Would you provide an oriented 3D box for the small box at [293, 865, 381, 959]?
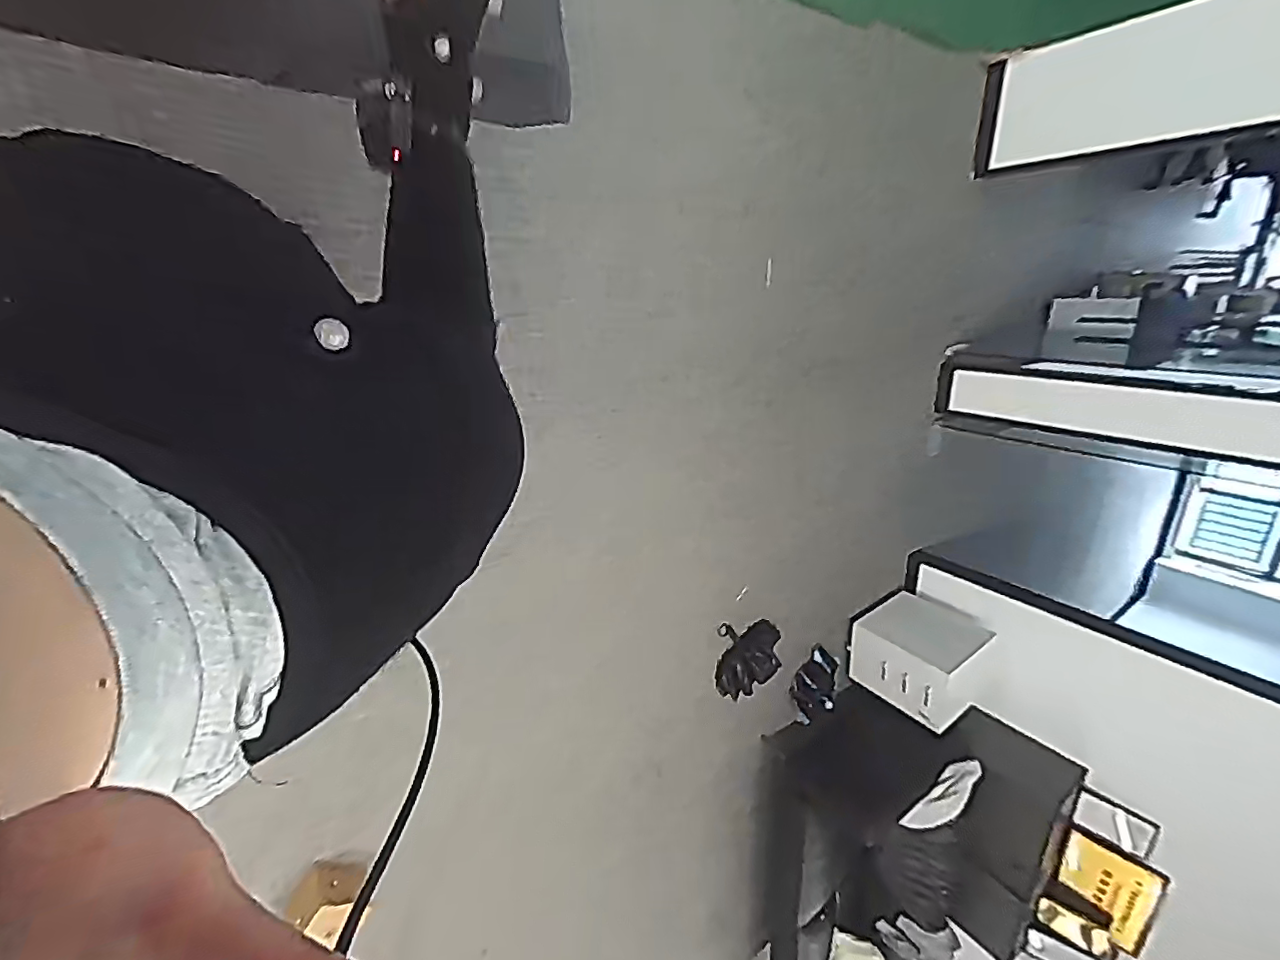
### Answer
[{"bbox_3d":[-0.934,1.323,1.656,0.168,0.176,0.179,37,82,-38],"label":"small box"}]
